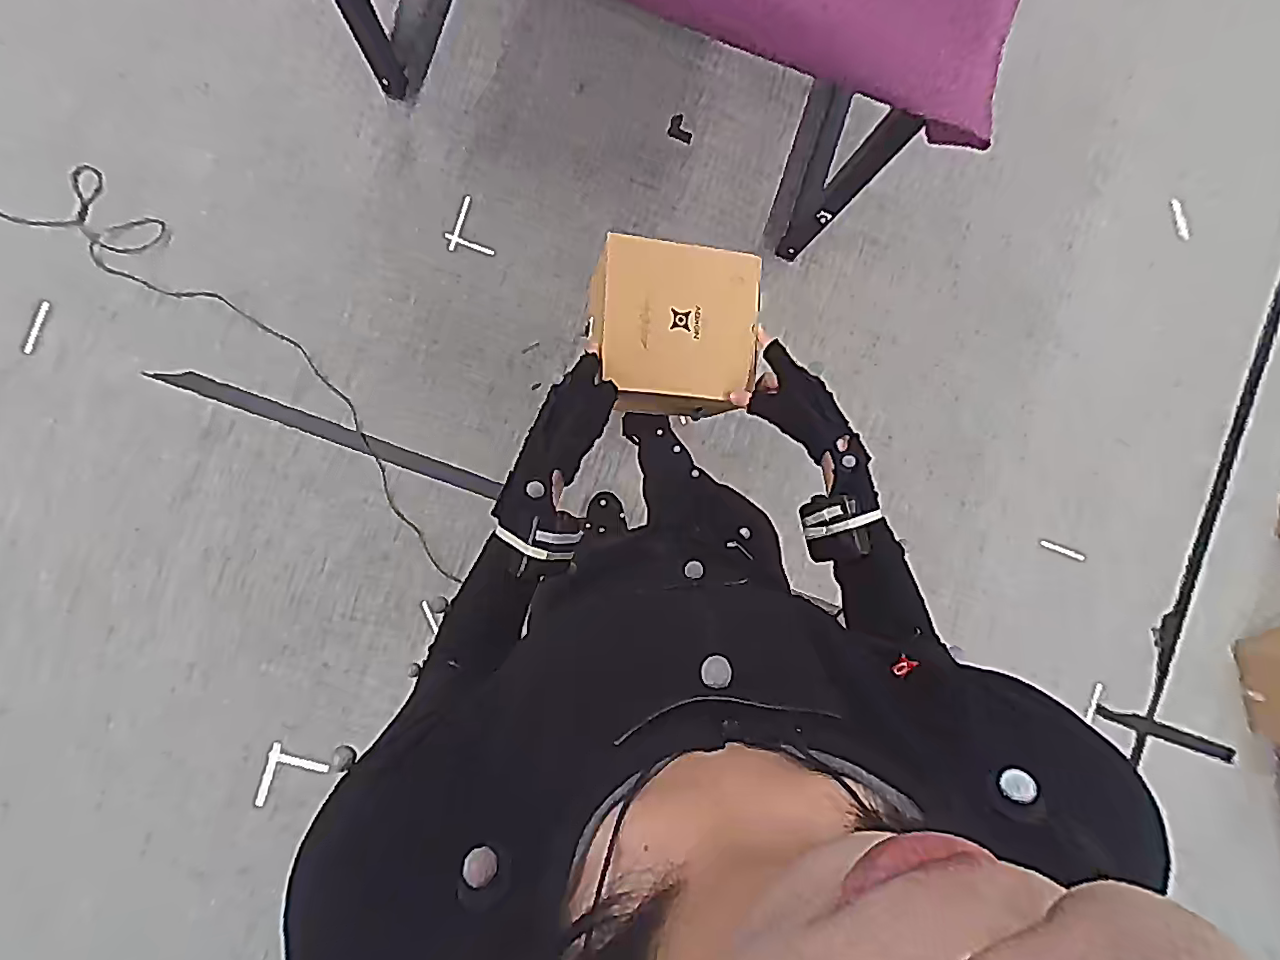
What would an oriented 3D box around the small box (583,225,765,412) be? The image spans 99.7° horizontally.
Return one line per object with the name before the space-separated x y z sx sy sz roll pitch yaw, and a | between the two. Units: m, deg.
small box | 0.031 -0.176 0.647 0.179 0.176 0.168 2 89 -12
